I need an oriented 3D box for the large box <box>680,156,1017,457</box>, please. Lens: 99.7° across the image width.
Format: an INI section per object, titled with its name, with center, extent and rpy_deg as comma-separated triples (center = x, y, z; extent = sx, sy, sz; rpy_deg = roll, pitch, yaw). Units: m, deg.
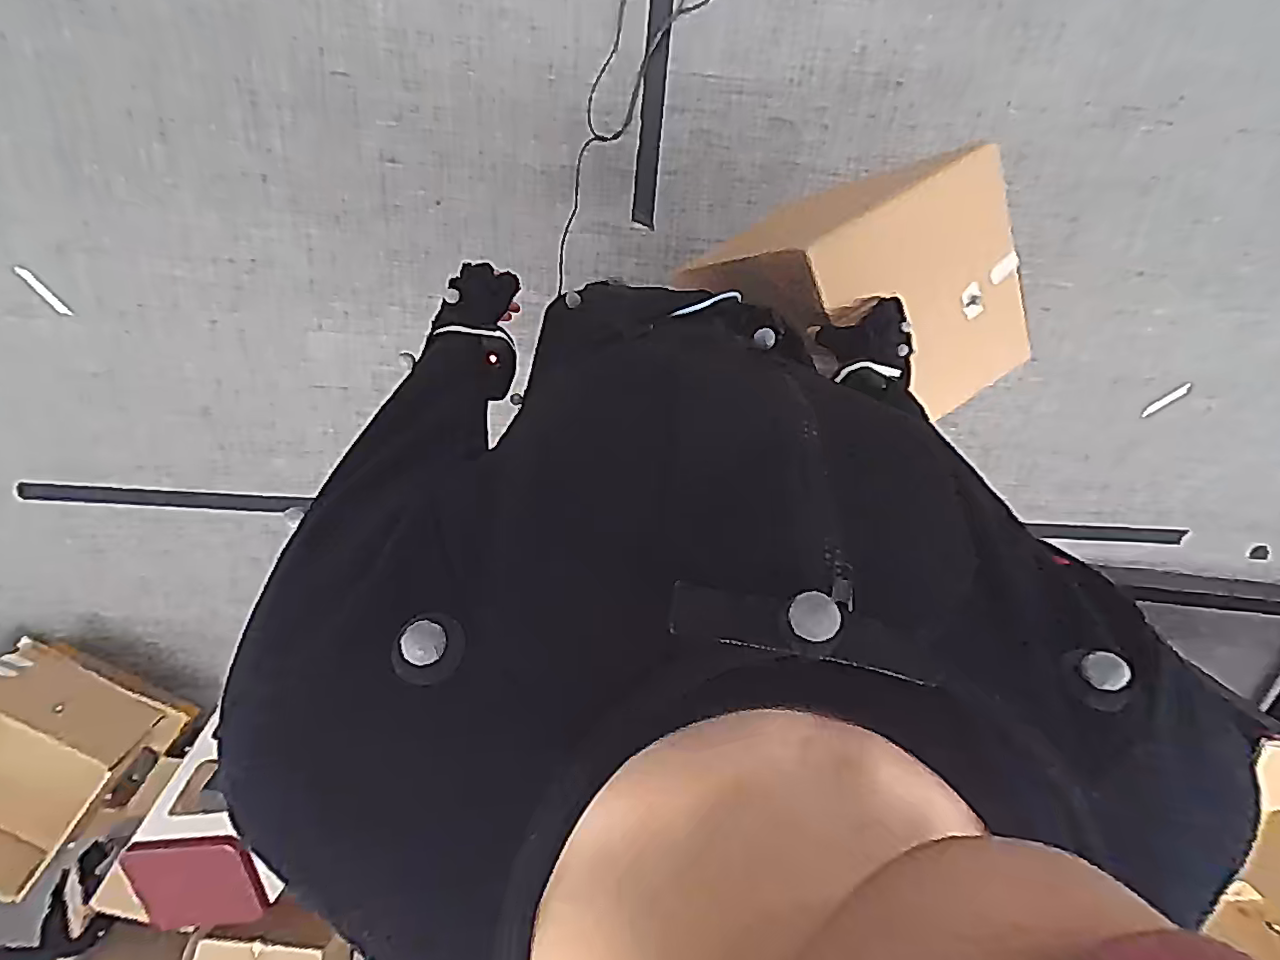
[large box]
center = 0.326, -0.283, 0.915
extent = 0.320, 0.408, 0.320
rpy_deg = -29, 114, -9
